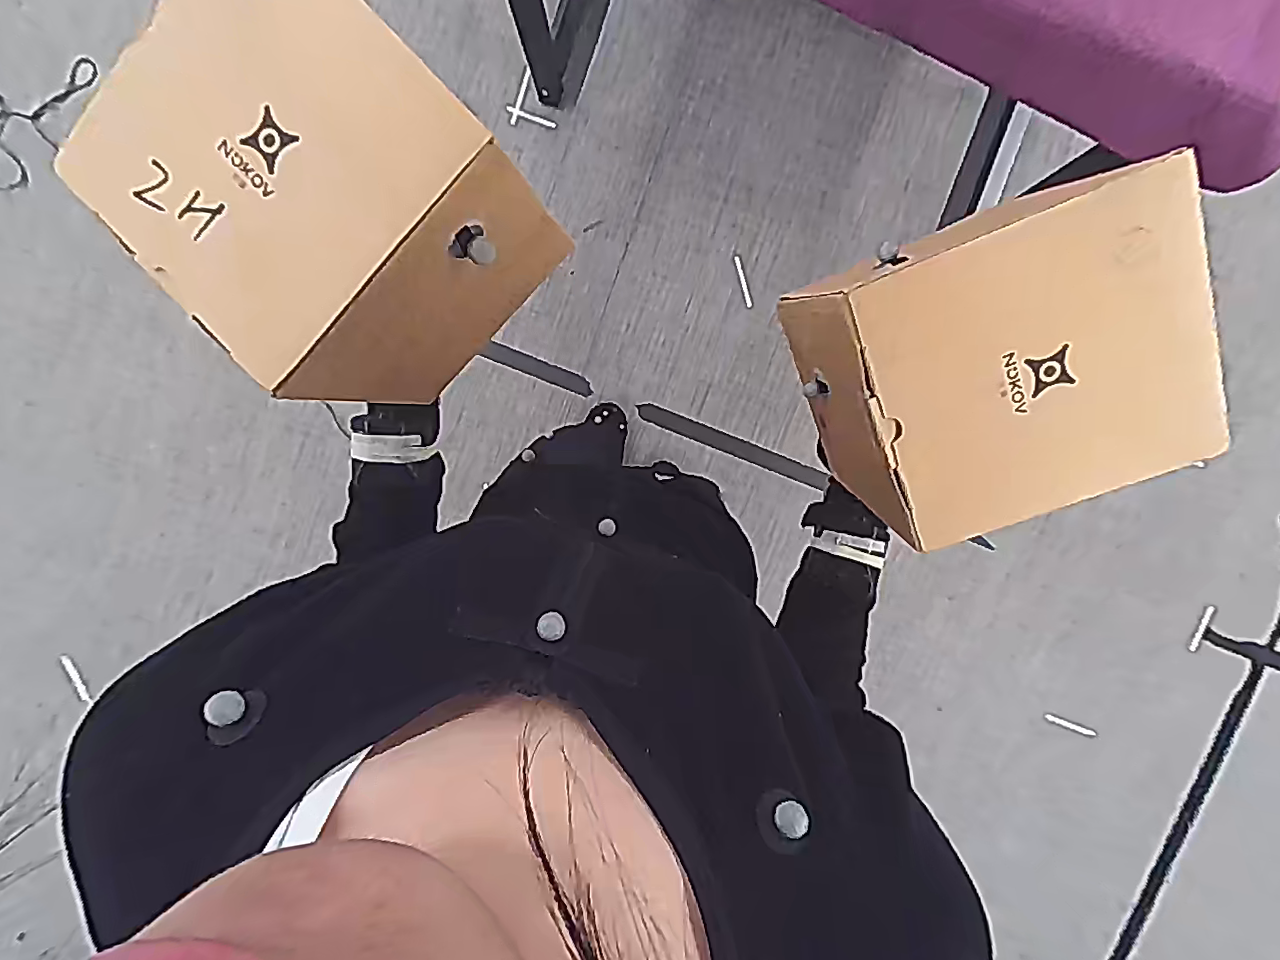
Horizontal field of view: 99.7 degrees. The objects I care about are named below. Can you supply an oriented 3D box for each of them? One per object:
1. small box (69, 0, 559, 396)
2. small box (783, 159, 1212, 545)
[{"bbox_3d":[-0.171,-0.171,0.346,0.179,0.176,0.168,-44,90,10],"label":"small box"},{"bbox_3d":[0.221,-0.085,0.377,0.179,0.176,0.168,-21,106,9],"label":"small box"}]
